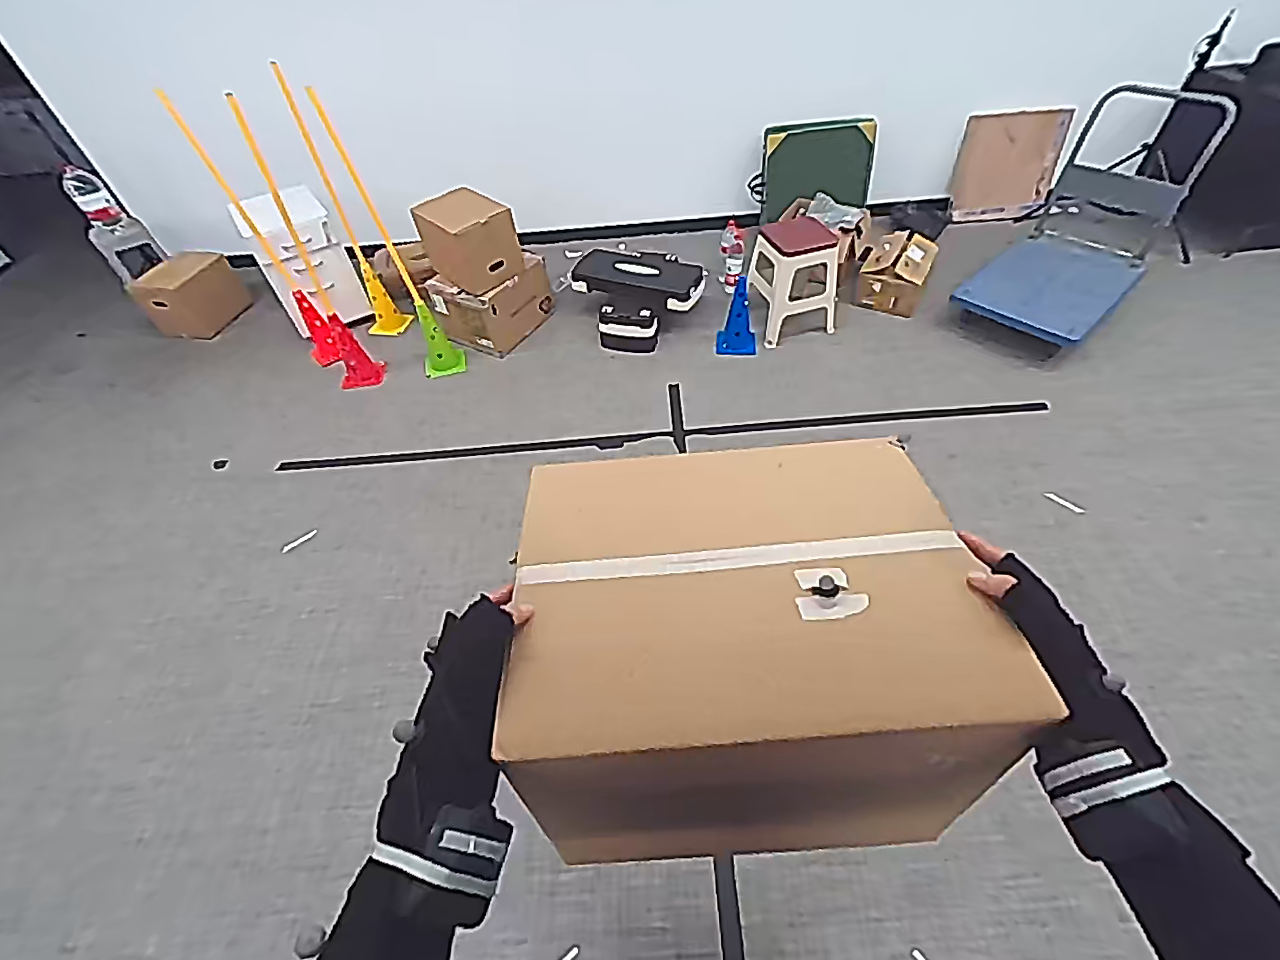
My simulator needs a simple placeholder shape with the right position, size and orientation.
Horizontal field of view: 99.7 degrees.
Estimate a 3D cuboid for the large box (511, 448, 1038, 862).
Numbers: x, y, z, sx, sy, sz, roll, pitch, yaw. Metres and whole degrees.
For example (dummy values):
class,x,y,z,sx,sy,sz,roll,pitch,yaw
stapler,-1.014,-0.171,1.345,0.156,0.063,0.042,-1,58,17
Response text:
class,x,y,z,sx,sy,sz,roll,pitch,yaw
large box,0.100,0.193,0.607,0.408,0.320,0.320,-5,43,1
